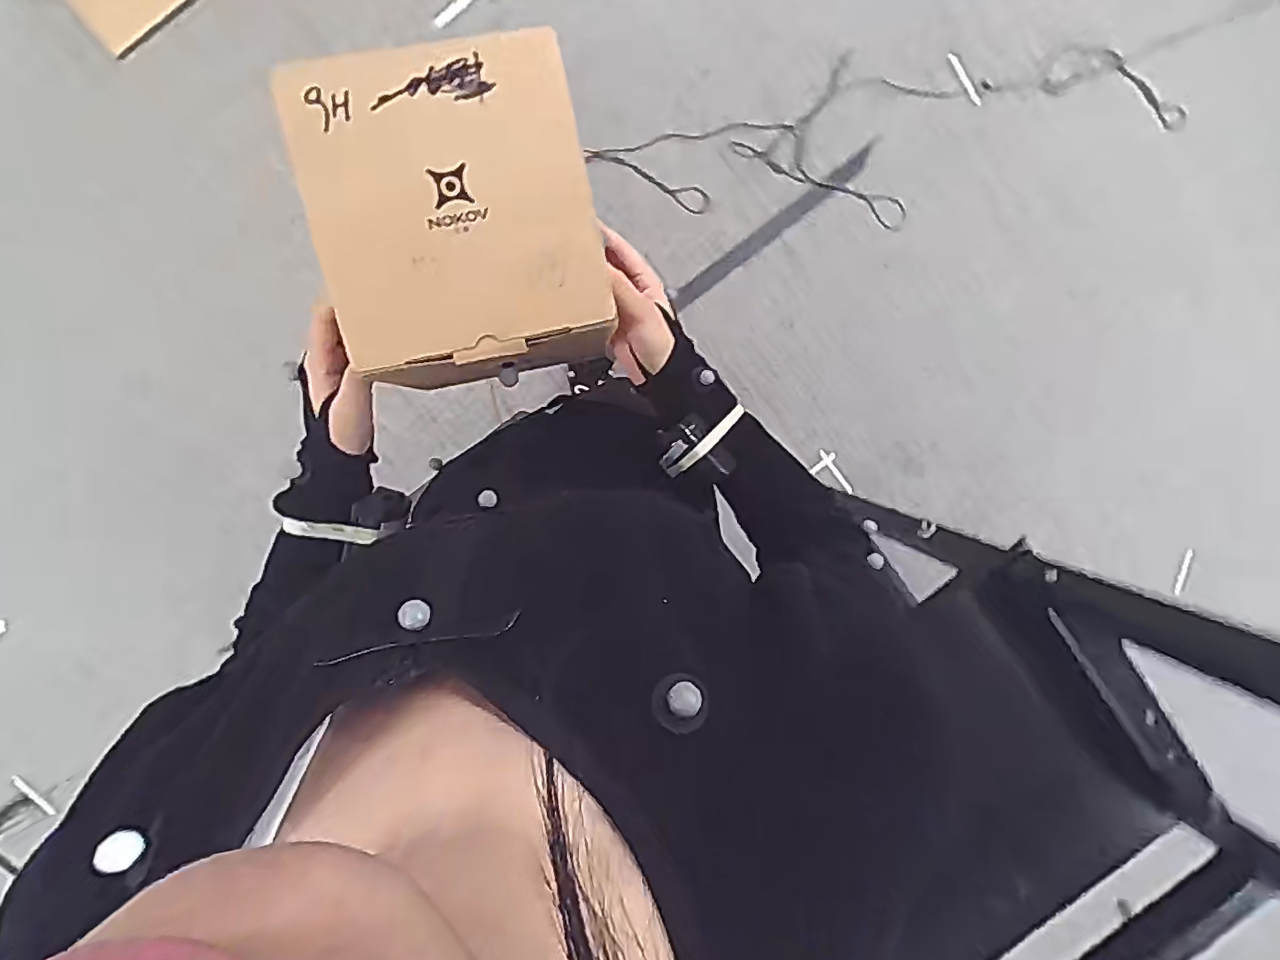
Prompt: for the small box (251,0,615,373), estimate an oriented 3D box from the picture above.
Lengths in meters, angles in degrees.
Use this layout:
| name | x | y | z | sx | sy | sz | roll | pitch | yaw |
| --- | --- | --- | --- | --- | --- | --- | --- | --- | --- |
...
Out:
| name | x | y | z | sx | sy | sz | roll | pitch | yaw |
| --- | --- | --- | --- | --- | --- | --- | --- | --- | --- |
| small box | -0.120 | -0.177 | 0.385 | 0.168 | 0.176 | 0.179 | -14 | 99 | -7 |
